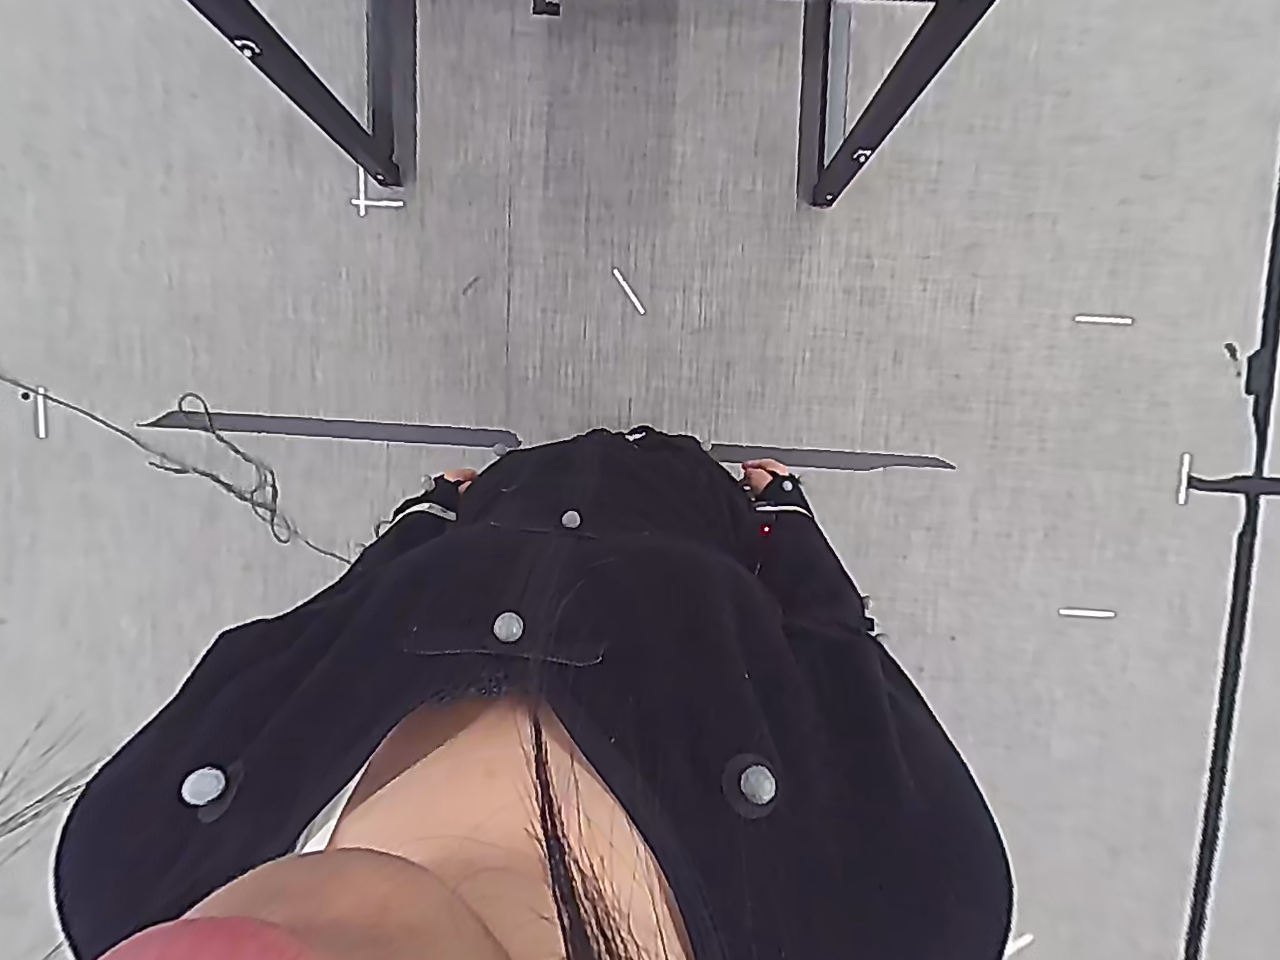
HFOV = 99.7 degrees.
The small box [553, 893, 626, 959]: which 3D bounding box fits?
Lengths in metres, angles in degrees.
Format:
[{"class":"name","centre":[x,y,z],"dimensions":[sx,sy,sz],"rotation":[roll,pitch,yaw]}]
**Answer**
[{"class":"small box","centre":[-0.134,1.280,1.484],"dimensions":[0.168,0.176,0.179],"rotation":[-11,94,0]}]

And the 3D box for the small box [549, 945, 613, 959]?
[{"class":"small box","centre":[-0.139,1.299,1.320],"dimensions":[0.168,0.176,0.179],"rotation":[-11,94,-1]}]
